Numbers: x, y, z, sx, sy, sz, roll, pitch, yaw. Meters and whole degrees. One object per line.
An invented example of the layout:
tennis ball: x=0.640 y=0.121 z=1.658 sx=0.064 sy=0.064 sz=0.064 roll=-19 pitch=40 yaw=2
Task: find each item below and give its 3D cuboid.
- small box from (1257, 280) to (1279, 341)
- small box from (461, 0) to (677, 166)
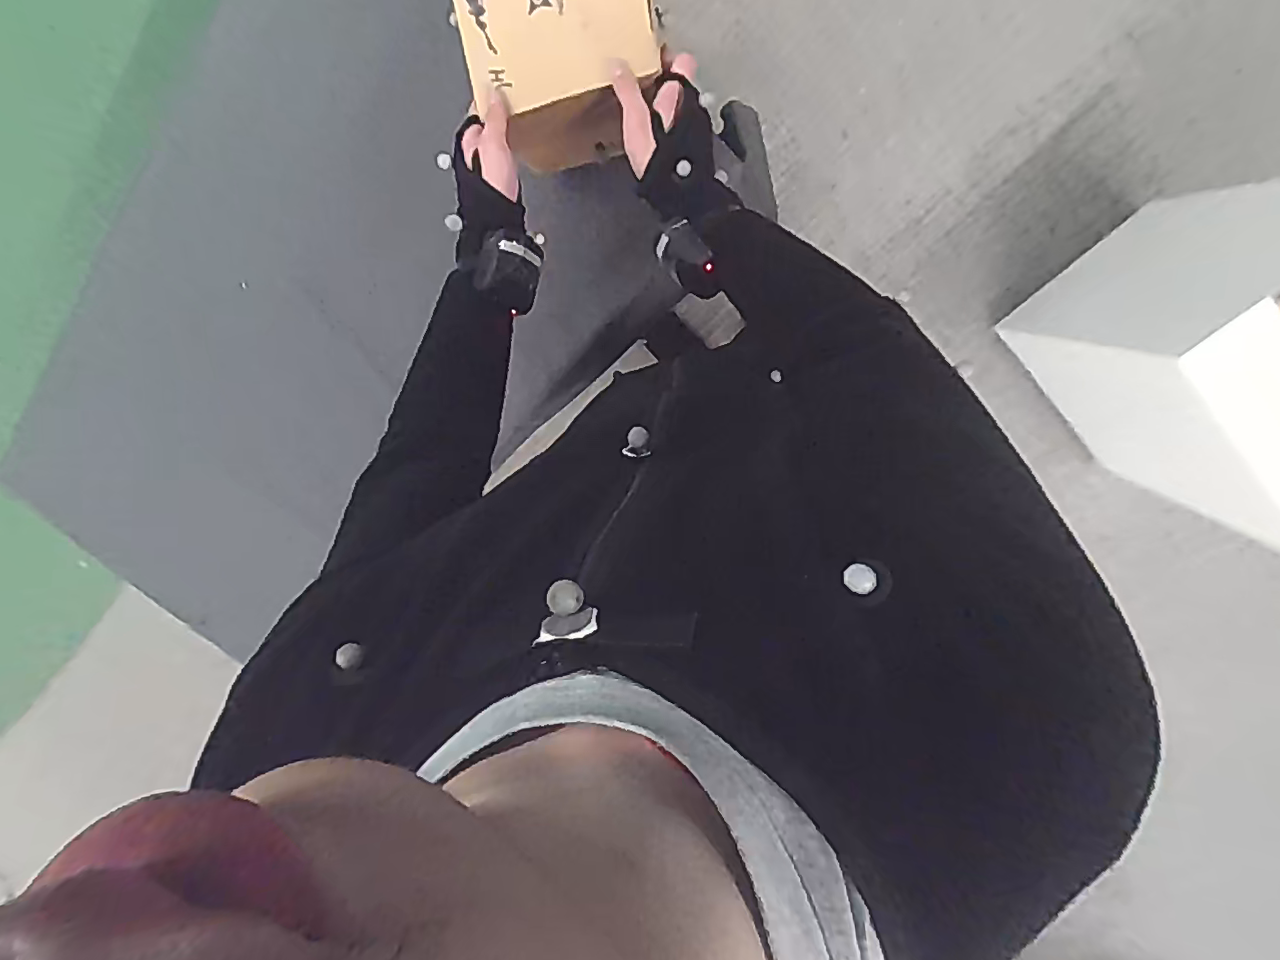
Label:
small box: x=1.009 y=-0.230 z=0.711 sx=0.179 sy=0.176 sz=0.168 roll=42 pitch=106 yaw=-11
small box: x=-0.059 y=-0.437 z=0.532 sx=0.179 sy=0.176 sz=0.168 roll=-8 pitch=102 yaw=9
